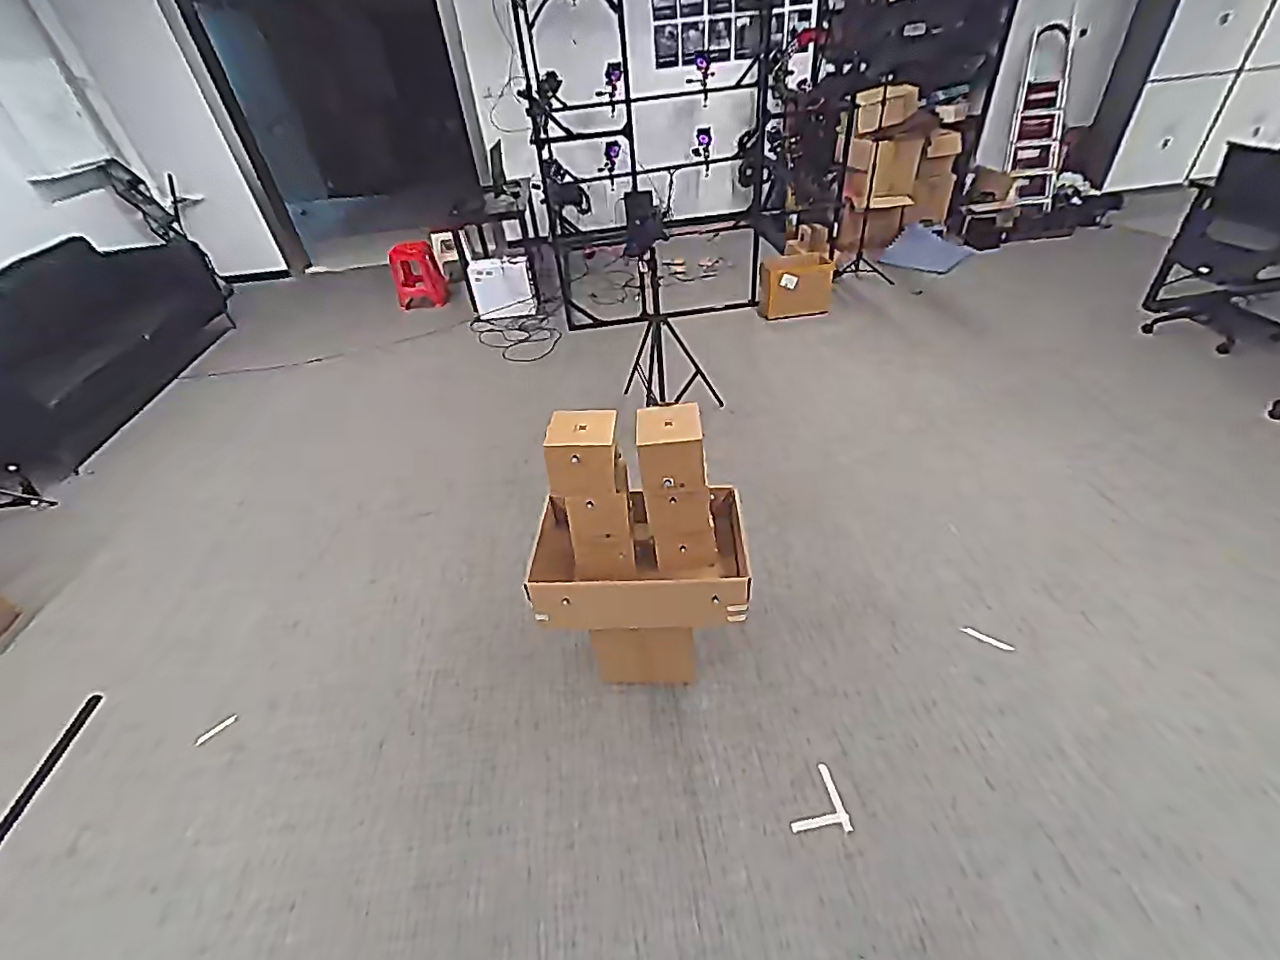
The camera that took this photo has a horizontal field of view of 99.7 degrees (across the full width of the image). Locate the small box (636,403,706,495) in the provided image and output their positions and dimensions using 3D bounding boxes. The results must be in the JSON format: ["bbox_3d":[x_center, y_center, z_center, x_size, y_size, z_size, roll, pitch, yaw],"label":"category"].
[{"bbox_3d":[0.082,-0.081,1.421,0.168,0.176,0.179,-6,38,5],"label":"small box"}]

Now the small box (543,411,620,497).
[{"bbox_3d":[-0.147,-0.068,1.439,0.179,0.176,0.168,-1,38,4],"label":"small box"}]
